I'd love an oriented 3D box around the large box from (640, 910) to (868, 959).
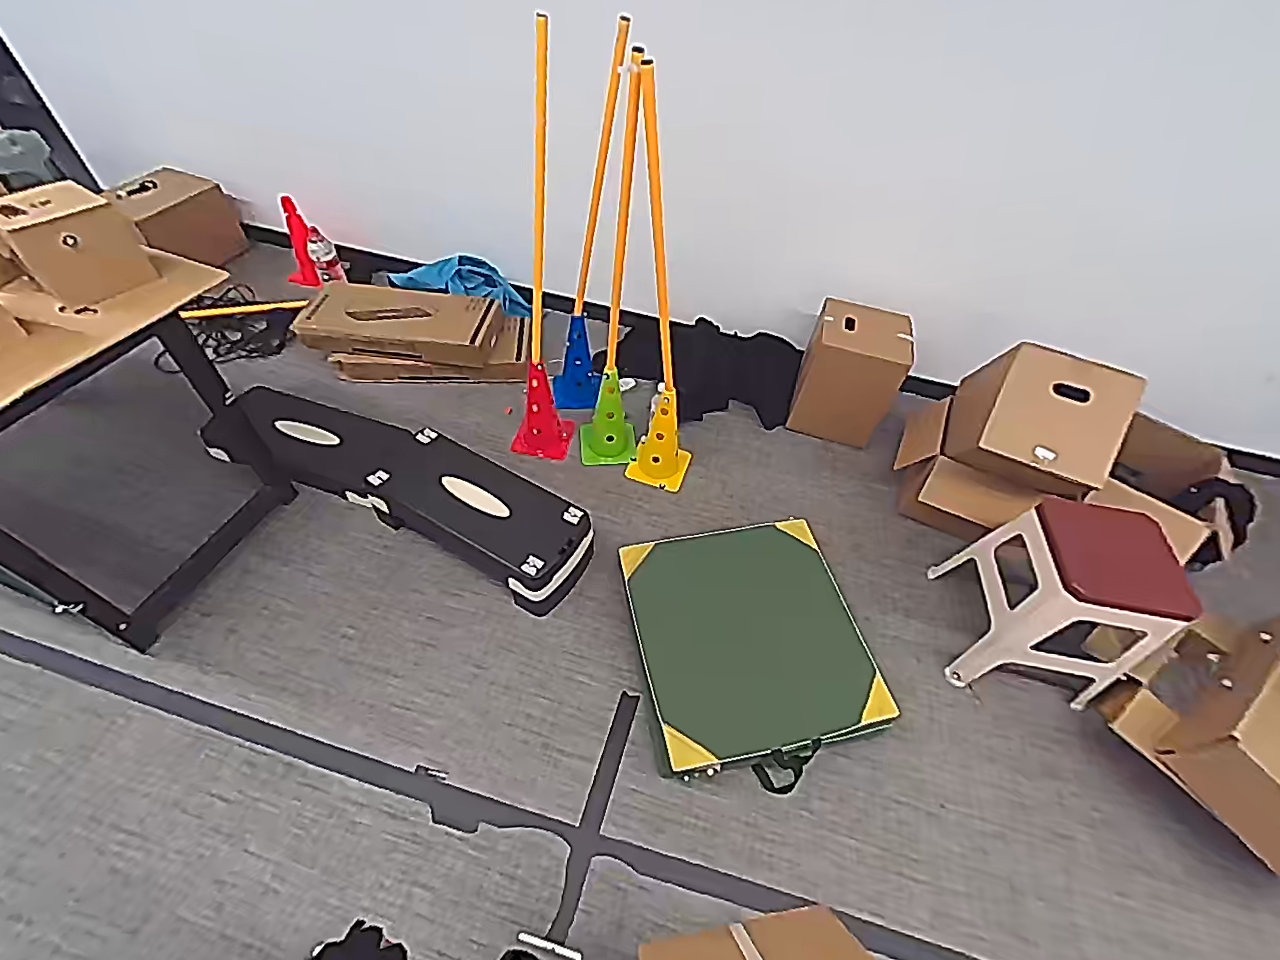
[{"bbox_3d":[0.198,0.811,0.627,0.320,0.408,0.320,-5,80,-11],"label":"large box"}]
